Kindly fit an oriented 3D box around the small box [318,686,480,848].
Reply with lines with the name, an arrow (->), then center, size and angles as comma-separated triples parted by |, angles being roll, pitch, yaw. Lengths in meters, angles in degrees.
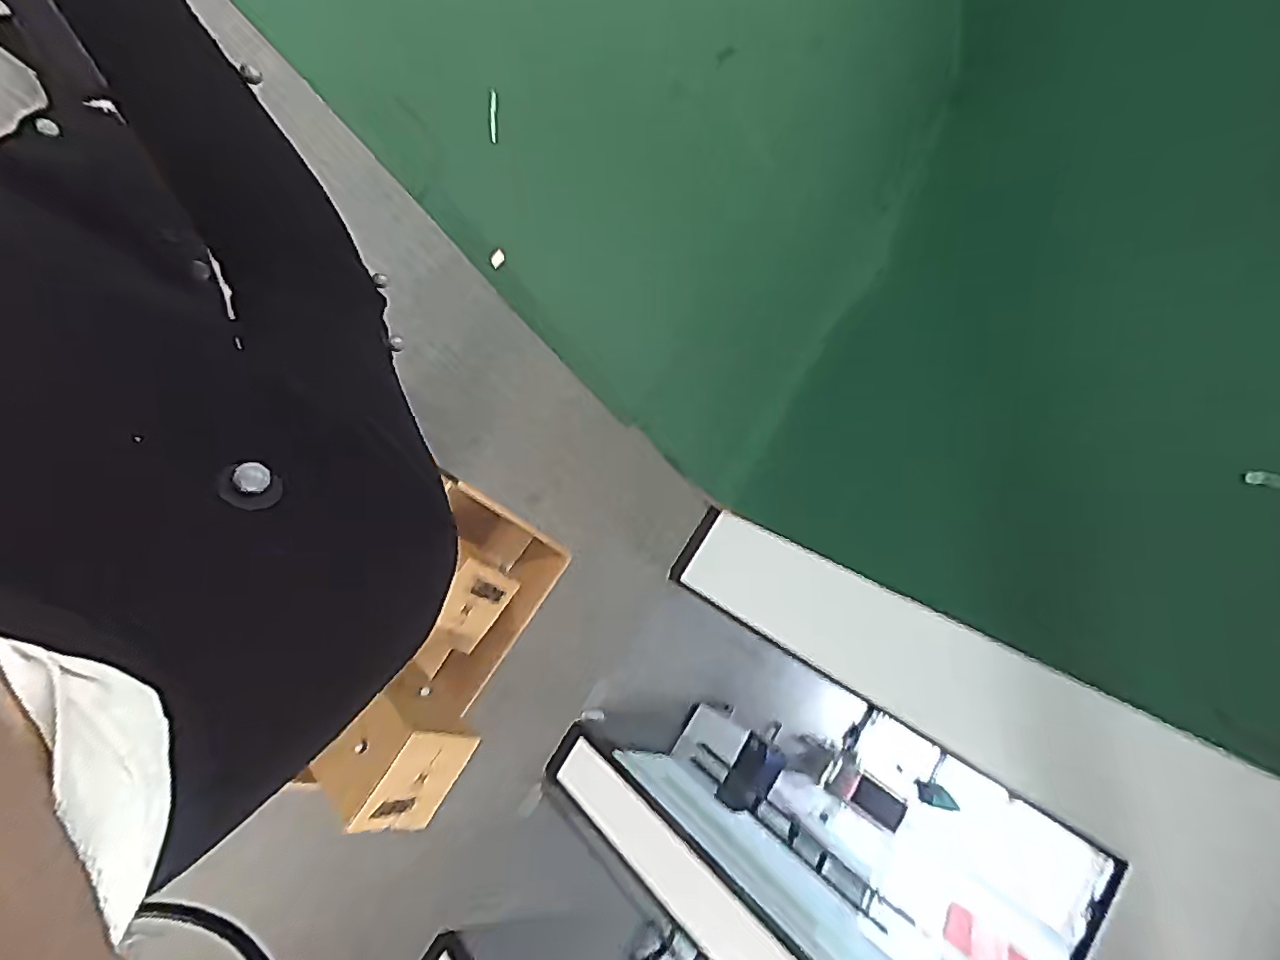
small box -> -0.422, 0.492, 0.937 | 0.179, 0.176, 0.168 | -57, 142, -10
